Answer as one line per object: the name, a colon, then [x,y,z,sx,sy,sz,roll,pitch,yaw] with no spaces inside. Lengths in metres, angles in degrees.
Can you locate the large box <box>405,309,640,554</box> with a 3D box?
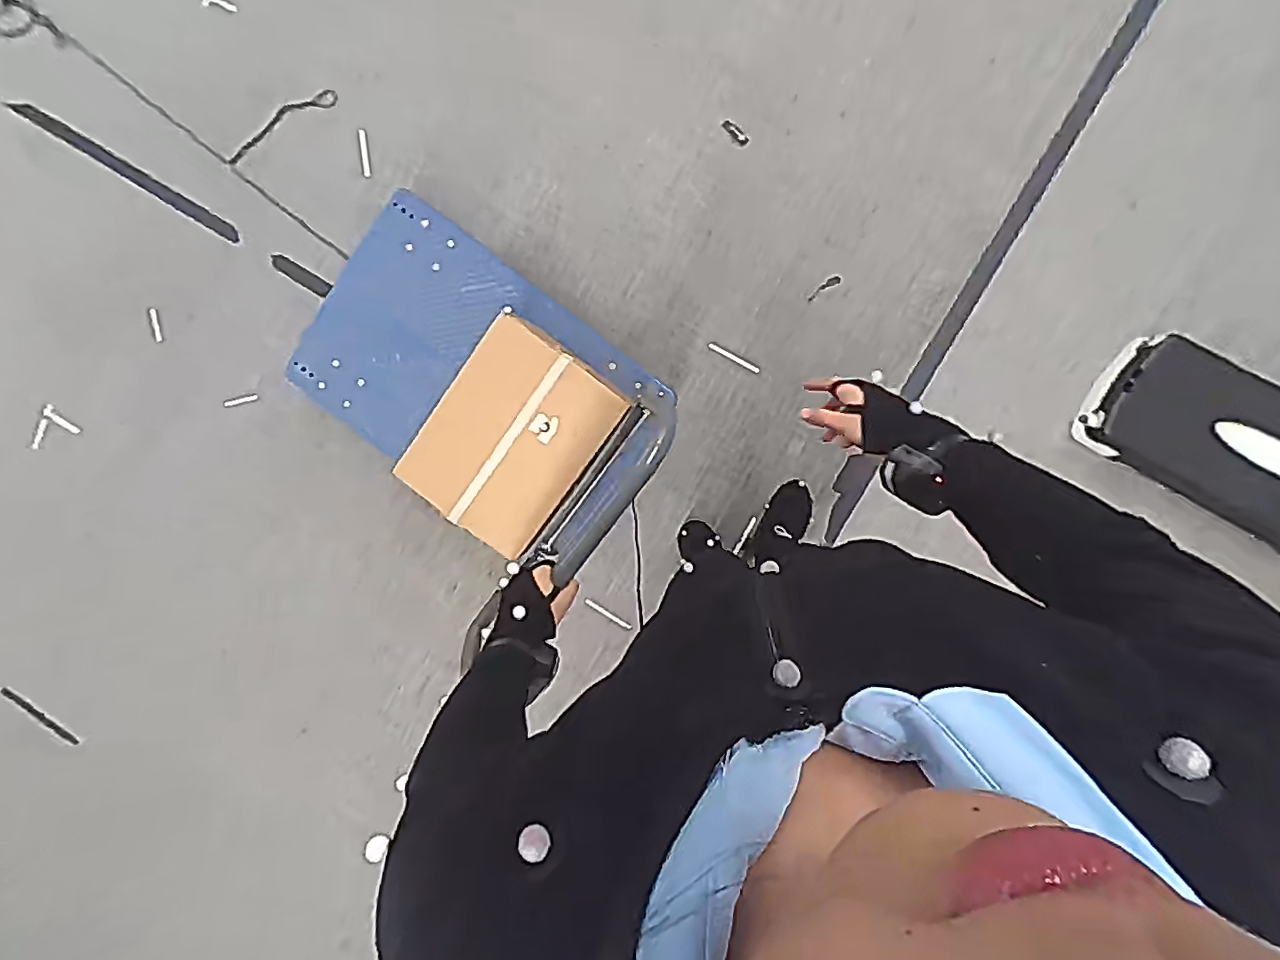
large box: [-0.242,-0.106,1.236,0.320,0.320,0.408,37,97,-2]
